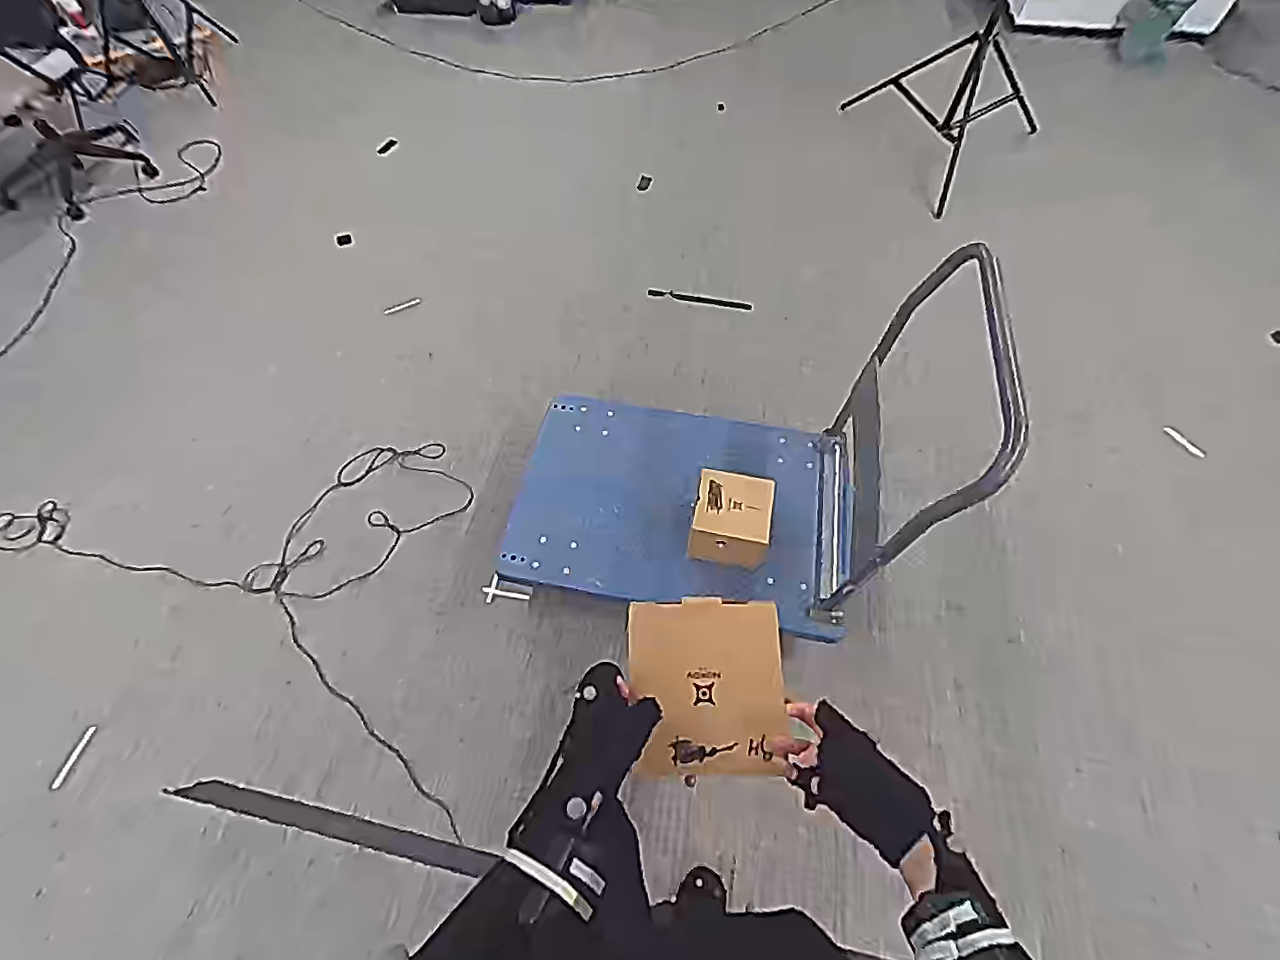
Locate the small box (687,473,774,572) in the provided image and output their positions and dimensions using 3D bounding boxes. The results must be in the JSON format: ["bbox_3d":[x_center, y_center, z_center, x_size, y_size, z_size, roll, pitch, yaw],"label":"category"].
[{"bbox_3d":[0.215,0.108,1.314,0.179,0.176,0.168,11,60,7],"label":"small box"}]

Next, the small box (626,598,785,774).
[{"bbox_3d":[0.074,0.245,0.656,0.168,0.176,0.179,-1,70,5],"label":"small box"}]
